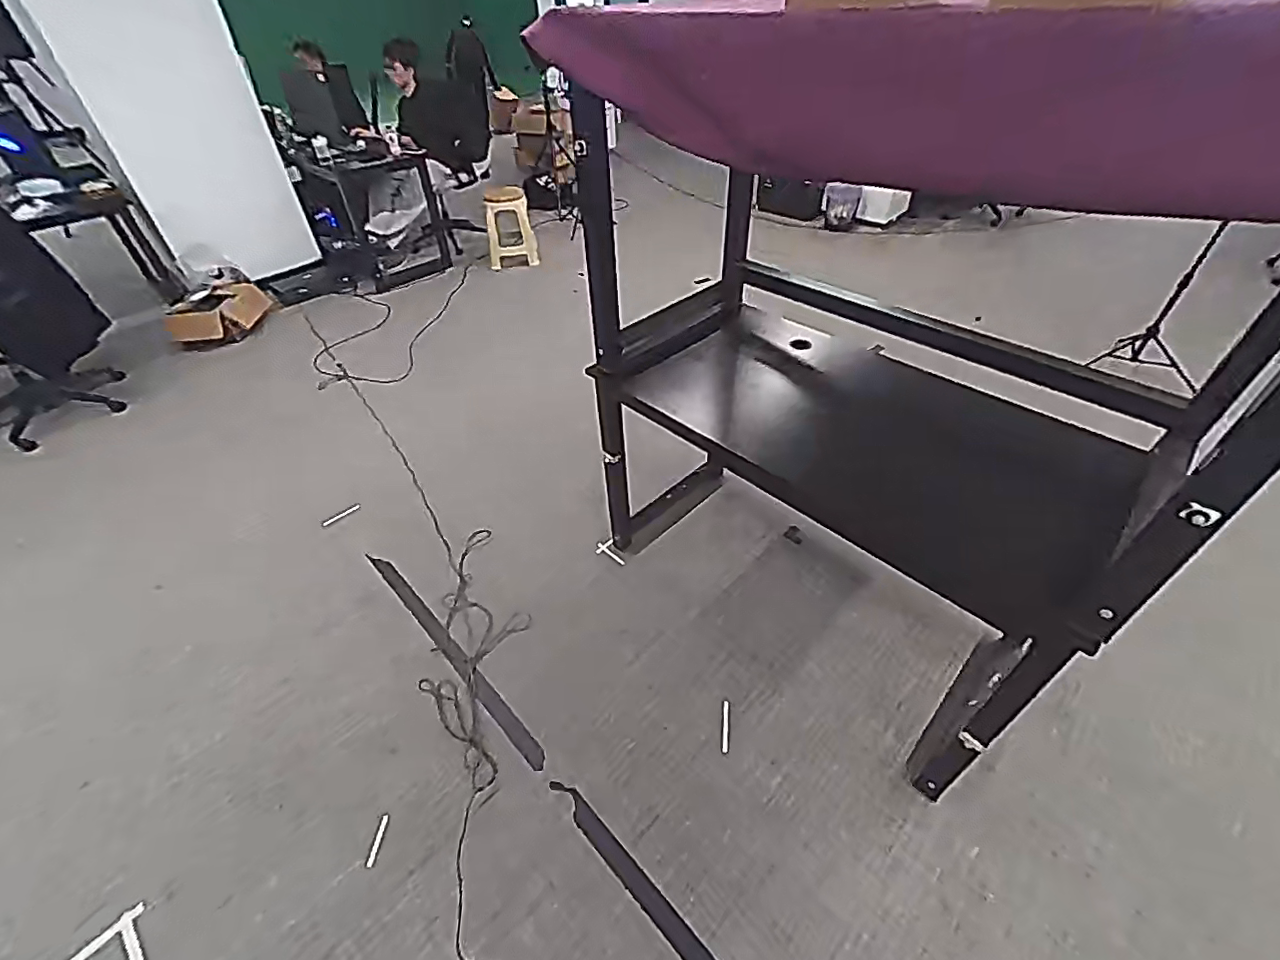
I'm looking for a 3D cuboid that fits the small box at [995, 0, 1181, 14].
[{"bbox_3d":[0.503,-0.597,0.560,0.168,0.176,0.179,30,51,30],"label":"small box"}]

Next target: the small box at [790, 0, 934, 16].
[{"bbox_3d":[0.305,-0.716,0.700,0.168,0.176,0.179,24,49,26],"label":"small box"}]
